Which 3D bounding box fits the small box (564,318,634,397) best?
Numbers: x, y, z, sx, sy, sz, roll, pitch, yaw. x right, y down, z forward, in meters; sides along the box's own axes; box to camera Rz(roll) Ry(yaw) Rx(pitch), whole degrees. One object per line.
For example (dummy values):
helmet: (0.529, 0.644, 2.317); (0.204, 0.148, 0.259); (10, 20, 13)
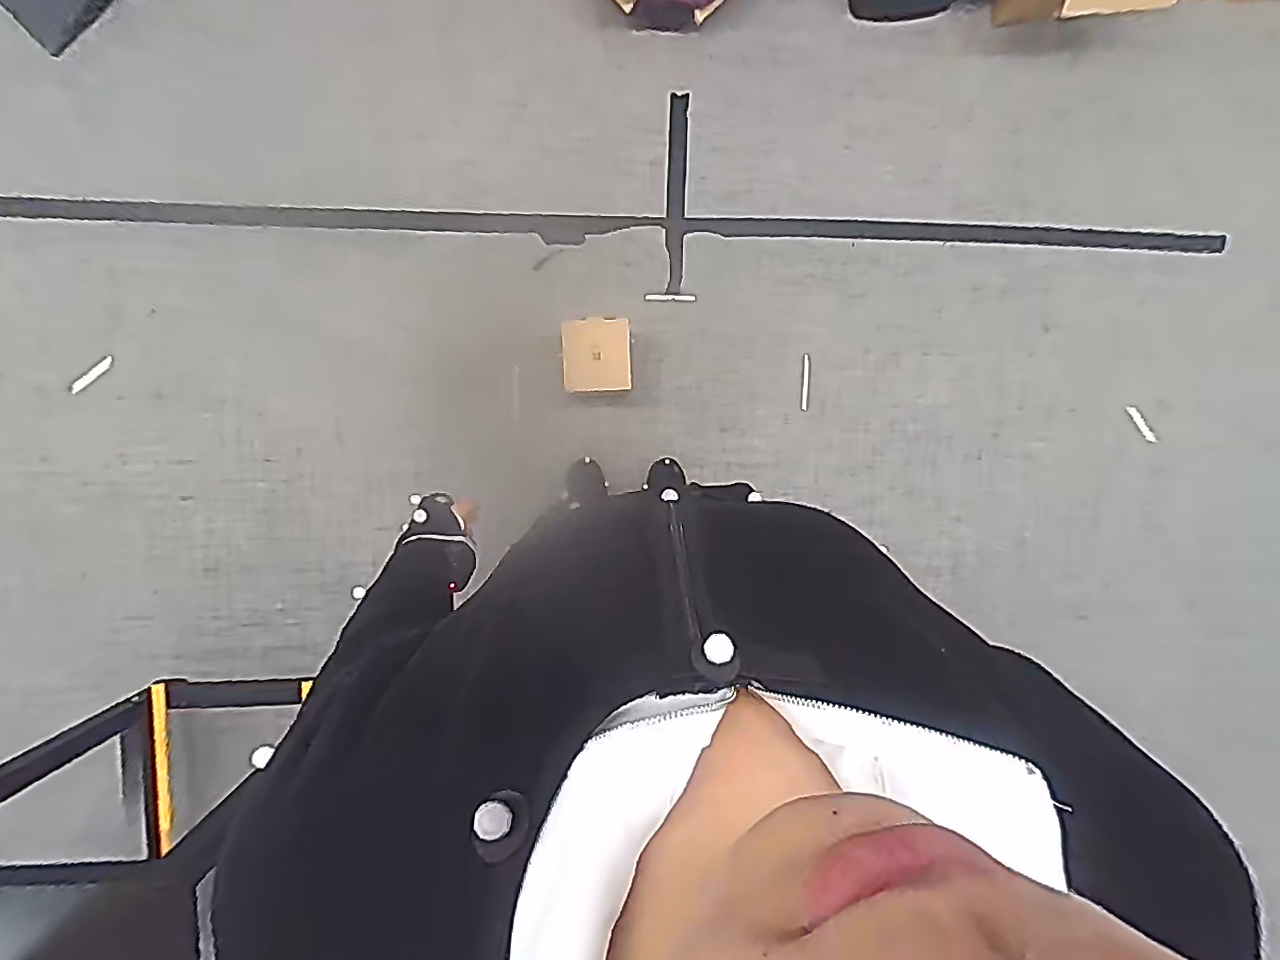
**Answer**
small box: (-0.104, -0.309, 1.392); (0.168, 0.176, 0.179); (-3, 96, -2)
